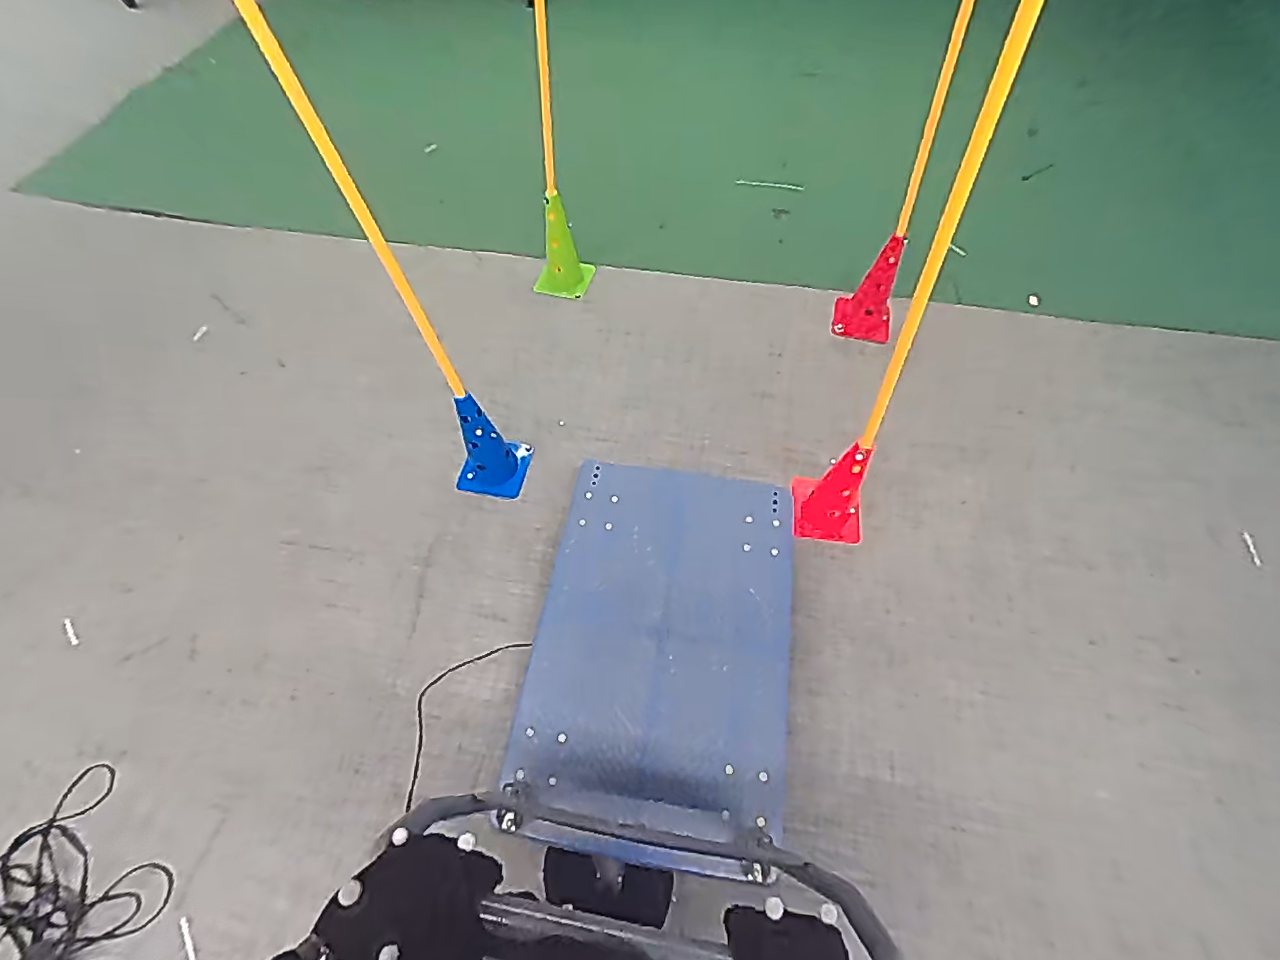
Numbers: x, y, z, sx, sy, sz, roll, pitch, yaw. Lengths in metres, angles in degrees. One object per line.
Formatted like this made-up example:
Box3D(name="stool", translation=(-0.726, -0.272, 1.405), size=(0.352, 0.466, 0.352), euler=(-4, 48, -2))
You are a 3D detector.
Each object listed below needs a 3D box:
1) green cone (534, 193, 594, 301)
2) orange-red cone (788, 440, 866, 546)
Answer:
Box3D(name="green cone", translation=(-0.302, -0.870, 1.980), size=(0.202, 0.368, 0.200), euler=(12, 60, 9))
Box3D(name="orange-red cone", translation=(0.535, 0.010, 1.463), size=(0.199, 0.360, 0.198), euler=(7, 59, 7))
